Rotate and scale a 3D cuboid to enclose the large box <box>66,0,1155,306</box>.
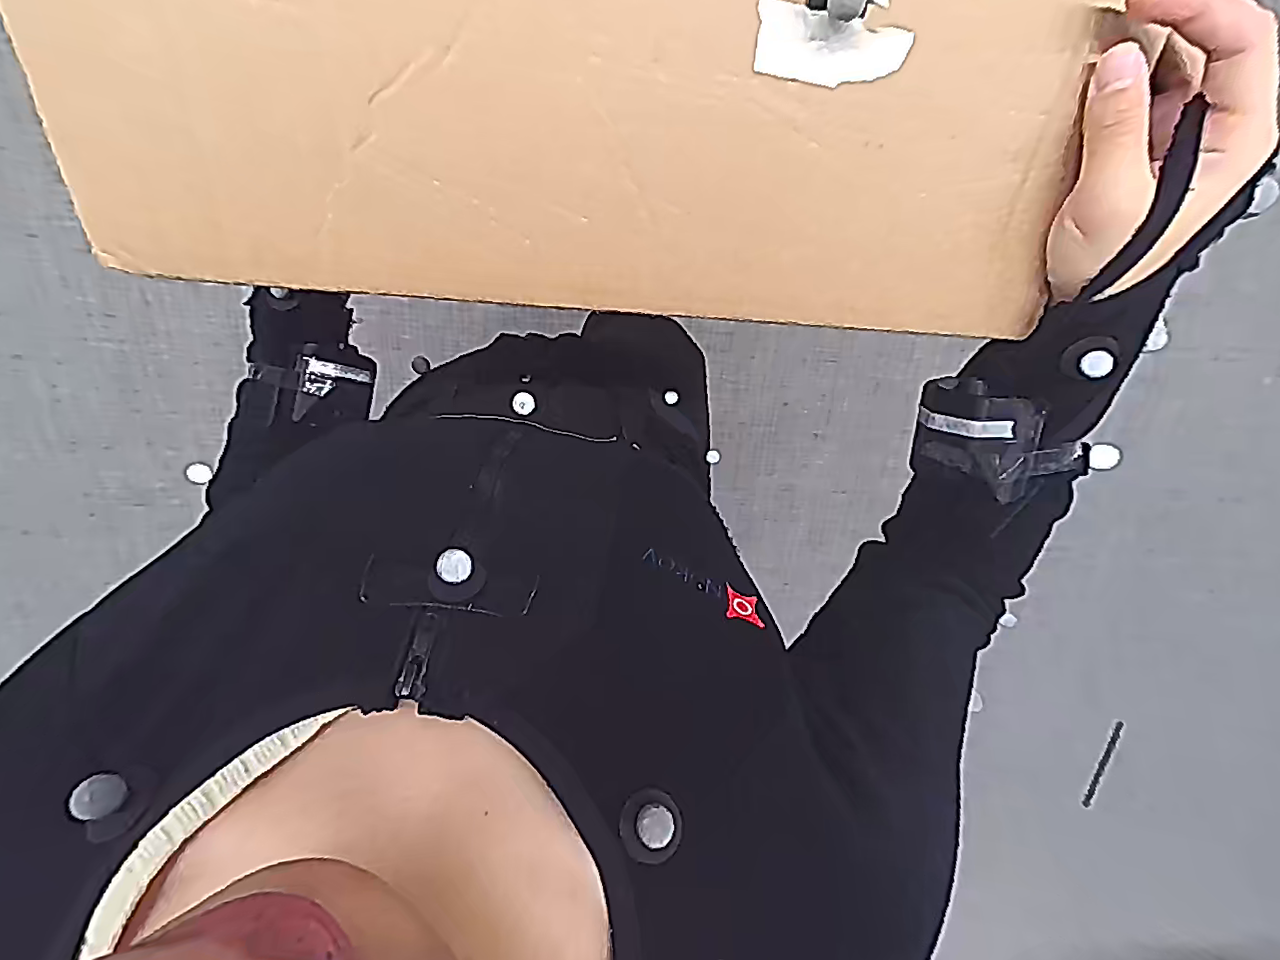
[{"bbox_3d":[-0.008,-0.294,0.302,0.408,0.320,0.320,1,119,-10],"label":"large box"}]
